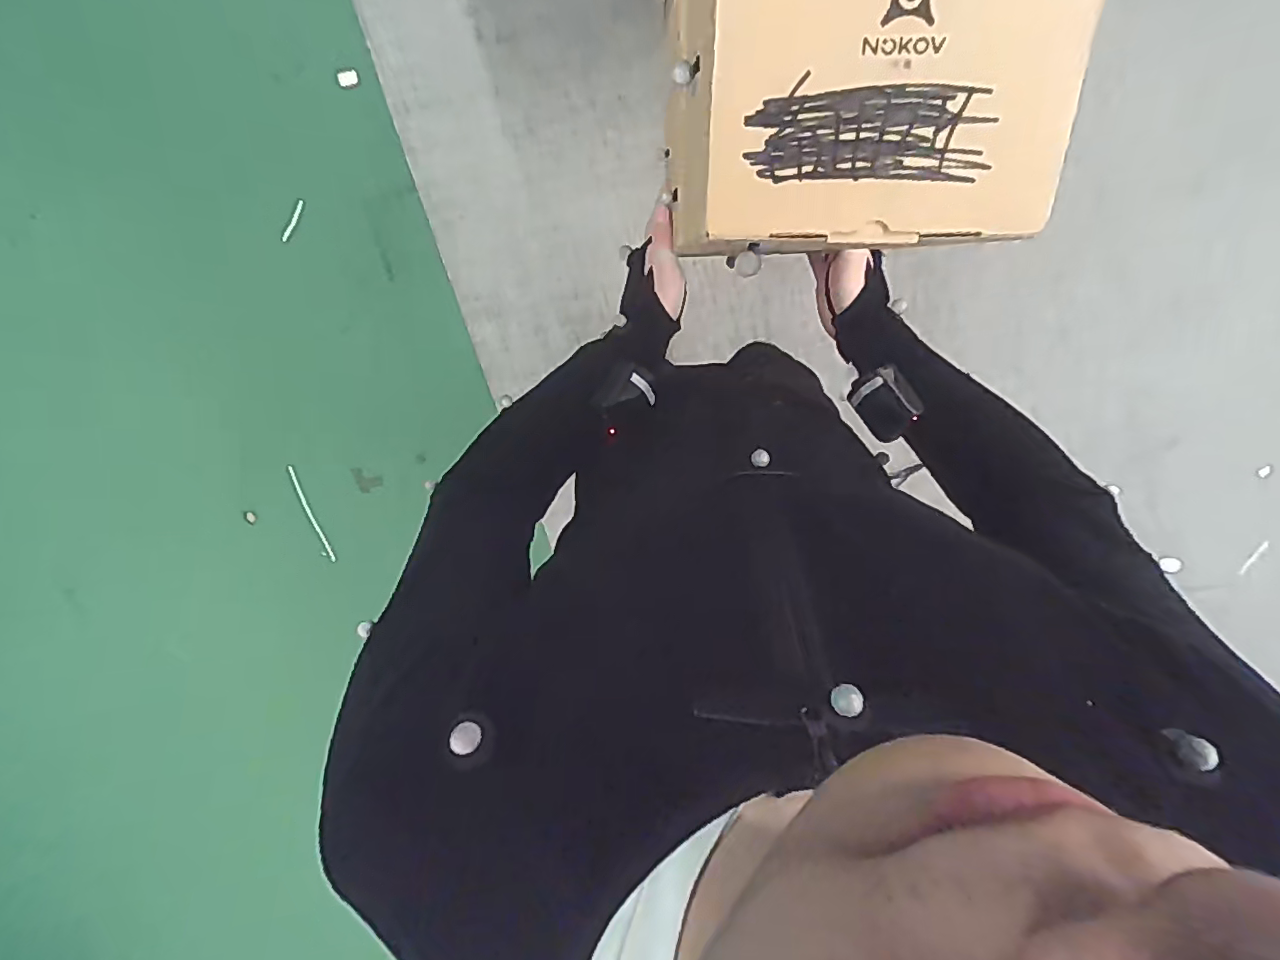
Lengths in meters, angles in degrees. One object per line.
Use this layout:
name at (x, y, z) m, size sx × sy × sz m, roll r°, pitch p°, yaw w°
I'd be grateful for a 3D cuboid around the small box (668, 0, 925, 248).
small box at (0.110, -0.297, 0.459) m, size 0.168 × 0.176 × 0.179 m, roll -1°, pitch 112°, yaw 0°
